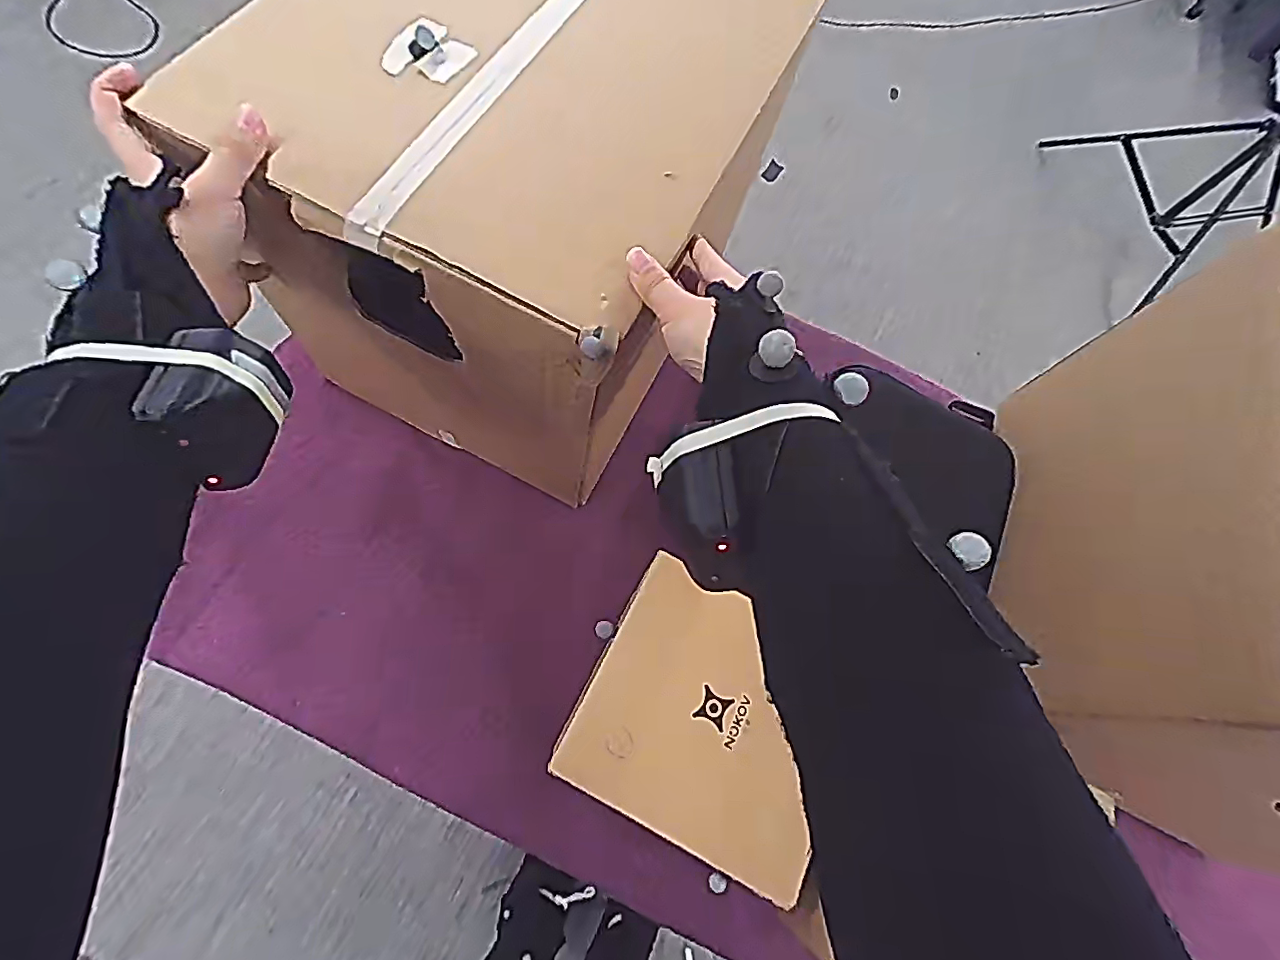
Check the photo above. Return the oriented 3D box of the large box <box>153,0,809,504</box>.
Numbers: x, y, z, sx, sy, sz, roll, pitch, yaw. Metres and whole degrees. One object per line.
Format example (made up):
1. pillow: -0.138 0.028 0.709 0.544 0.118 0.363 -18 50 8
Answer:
1. large box: -0.093 -0.247 0.521 0.320 0.320 0.408 26 70 1
